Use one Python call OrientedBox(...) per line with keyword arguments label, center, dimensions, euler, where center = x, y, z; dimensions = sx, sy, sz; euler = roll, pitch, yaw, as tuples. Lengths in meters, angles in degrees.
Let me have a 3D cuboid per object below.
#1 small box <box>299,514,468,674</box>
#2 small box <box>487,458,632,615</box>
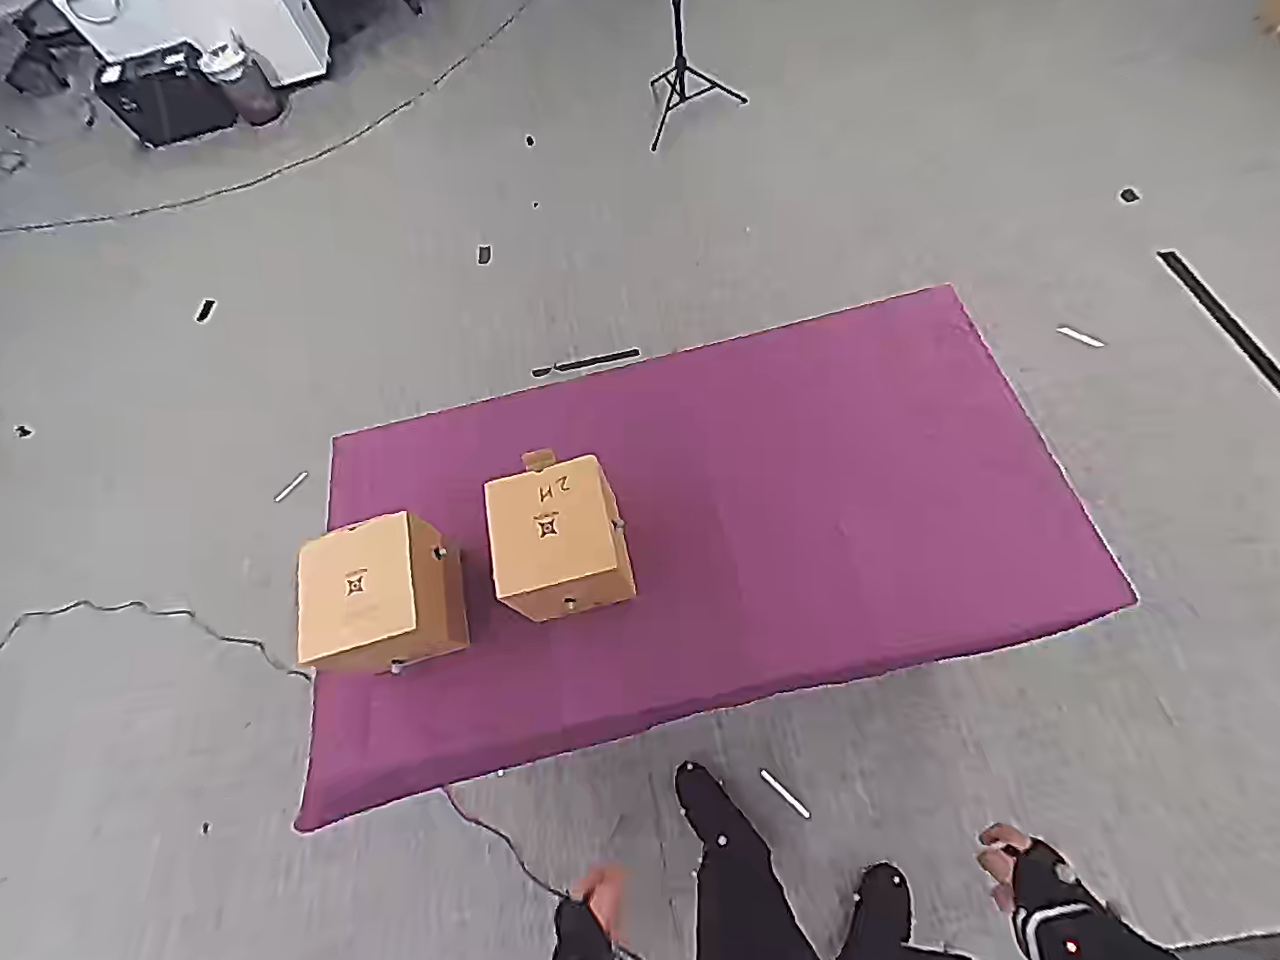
OrientedBox(label="small box", center=(-0.377, 0.178, 0.818), dimensions=(0.168, 0.176, 0.179), euler=(-17, 63, 1))
OrientedBox(label="small box", center=(-0.115, 0.095, 0.815), dimensions=(0.168, 0.176, 0.179), euler=(-15, 63, 1))
